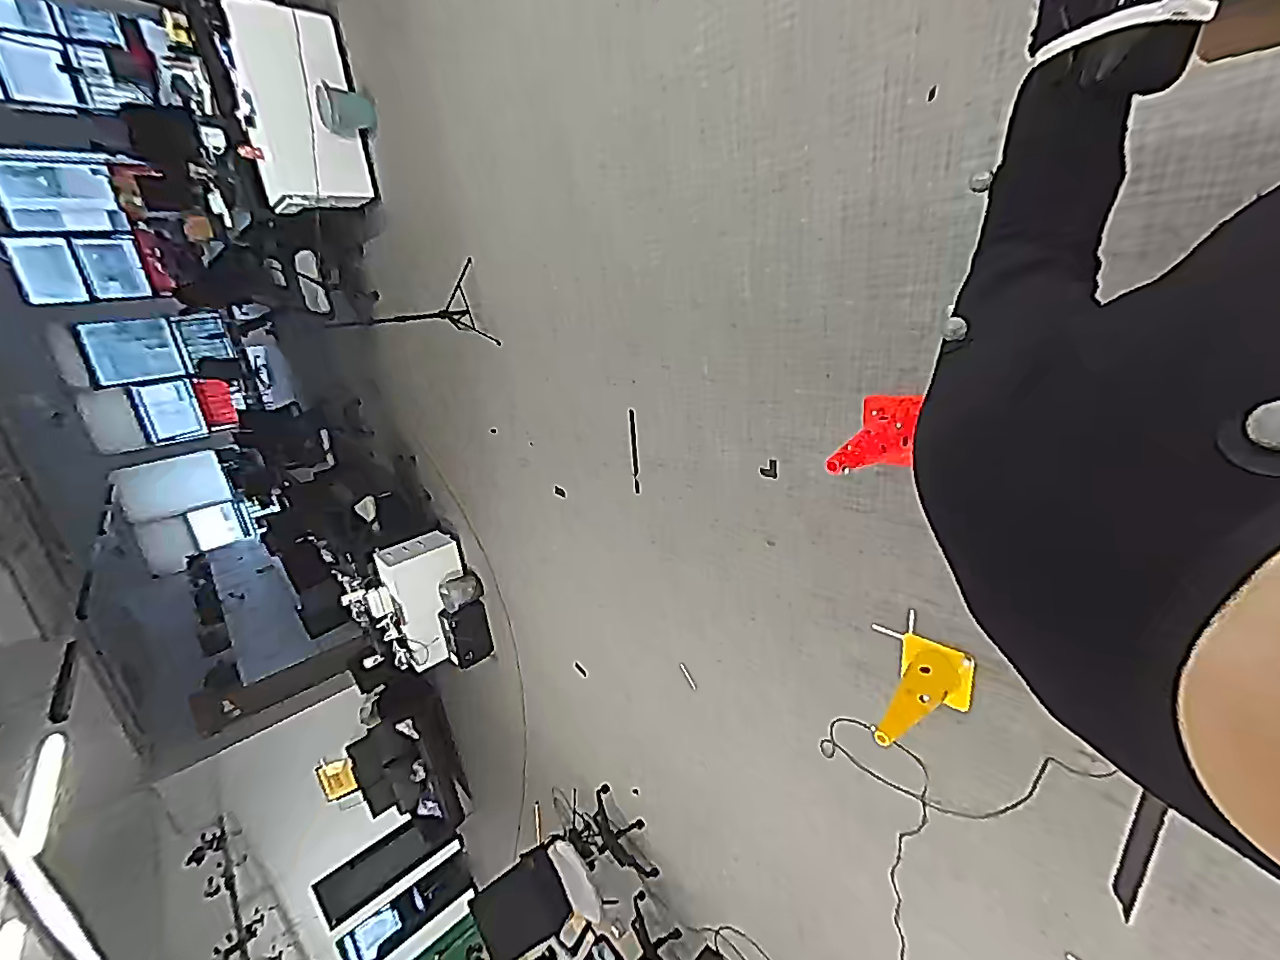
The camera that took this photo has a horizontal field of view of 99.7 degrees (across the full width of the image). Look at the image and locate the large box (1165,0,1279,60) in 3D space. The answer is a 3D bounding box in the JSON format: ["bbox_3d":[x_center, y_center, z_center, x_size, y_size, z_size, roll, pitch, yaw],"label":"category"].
[{"bbox_3d":[0.553,-0.463,0.246,0.408,0.320,0.320,16,122,45],"label":"large box"}]

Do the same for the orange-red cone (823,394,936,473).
[{"bbox_3d":[0.592,-0.085,1.407,0.198,0.360,0.199,14,119,48],"label":"orange-red cone"}]
